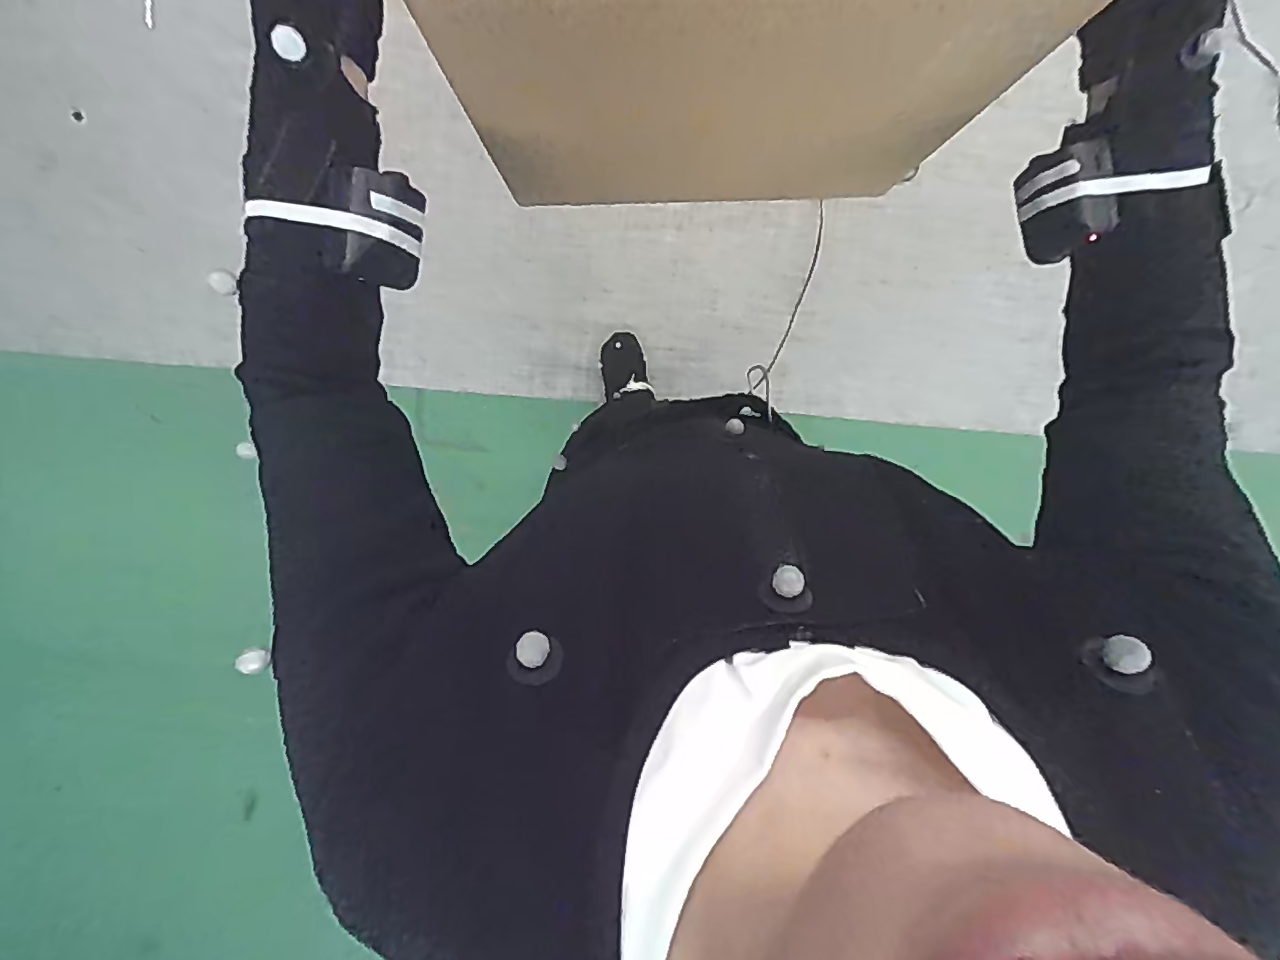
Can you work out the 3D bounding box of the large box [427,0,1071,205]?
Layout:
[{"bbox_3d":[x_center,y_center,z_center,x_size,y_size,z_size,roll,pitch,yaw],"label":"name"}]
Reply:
[{"bbox_3d":[0.060,-0.444,0.429,0.408,0.320,0.320,-3,98,-2],"label":"large box"}]
